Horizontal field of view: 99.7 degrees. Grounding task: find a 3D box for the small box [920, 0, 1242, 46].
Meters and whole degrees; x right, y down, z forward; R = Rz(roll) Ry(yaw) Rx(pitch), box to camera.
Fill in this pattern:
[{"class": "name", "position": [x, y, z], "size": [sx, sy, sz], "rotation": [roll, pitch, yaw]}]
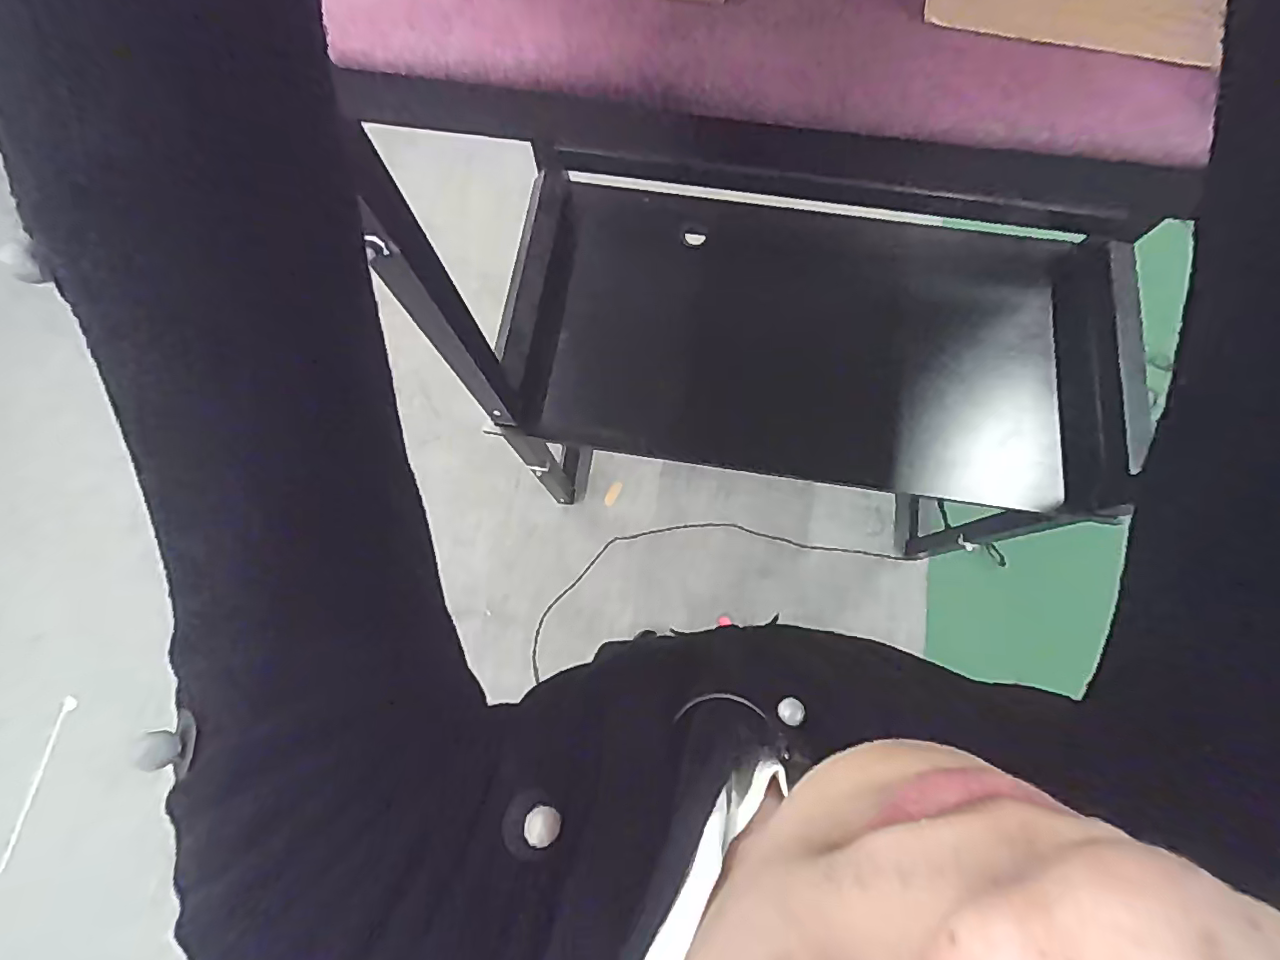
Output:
[{"class": "small box", "position": [0.270, -0.363, 0.266], "size": [0.179, 0.176, 0.168], "rotation": [13, 75, 6]}]
